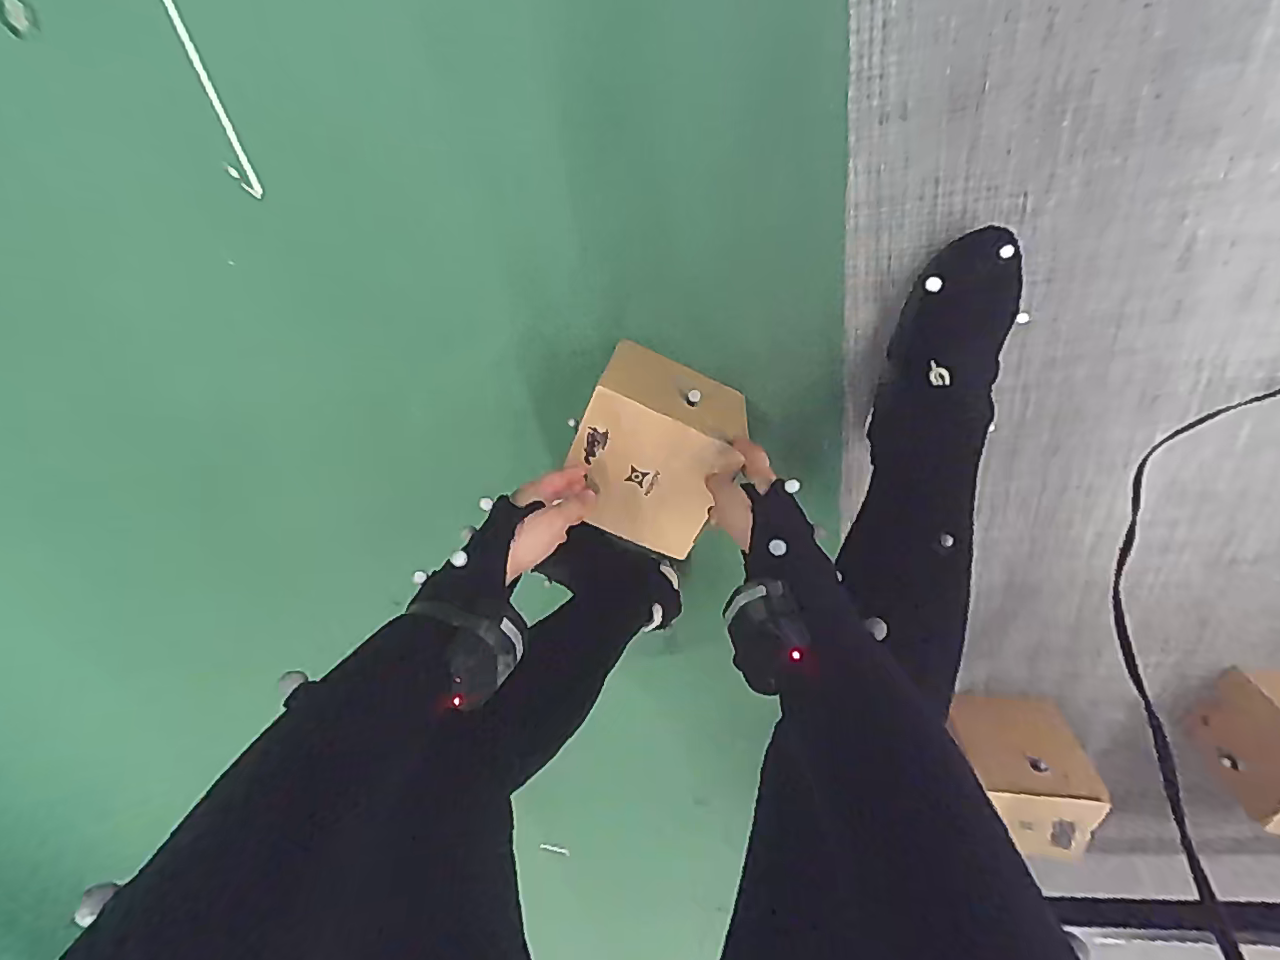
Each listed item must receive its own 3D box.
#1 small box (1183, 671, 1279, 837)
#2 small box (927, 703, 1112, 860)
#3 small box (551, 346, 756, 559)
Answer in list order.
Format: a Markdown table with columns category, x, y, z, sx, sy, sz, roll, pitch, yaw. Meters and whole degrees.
| category | x | y | z | sx | sy | sz | roll | pitch | yaw |
| --- | --- | --- | --- | --- | --- | --- | --- | --- | --- |
| small box | 0.992 | 0.408 | 0.804 | 0.179 | 0.176 | 0.168 | 5 | 121 | 2 |
| small box | 0.607 | 0.490 | 0.892 | 0.179 | 0.176 | 0.168 | -1 | 119 | 8 |
| small box | 0.017 | -0.041 | 0.652 | 0.179 | 0.176 | 0.168 | 23 | 119 | -8 |
